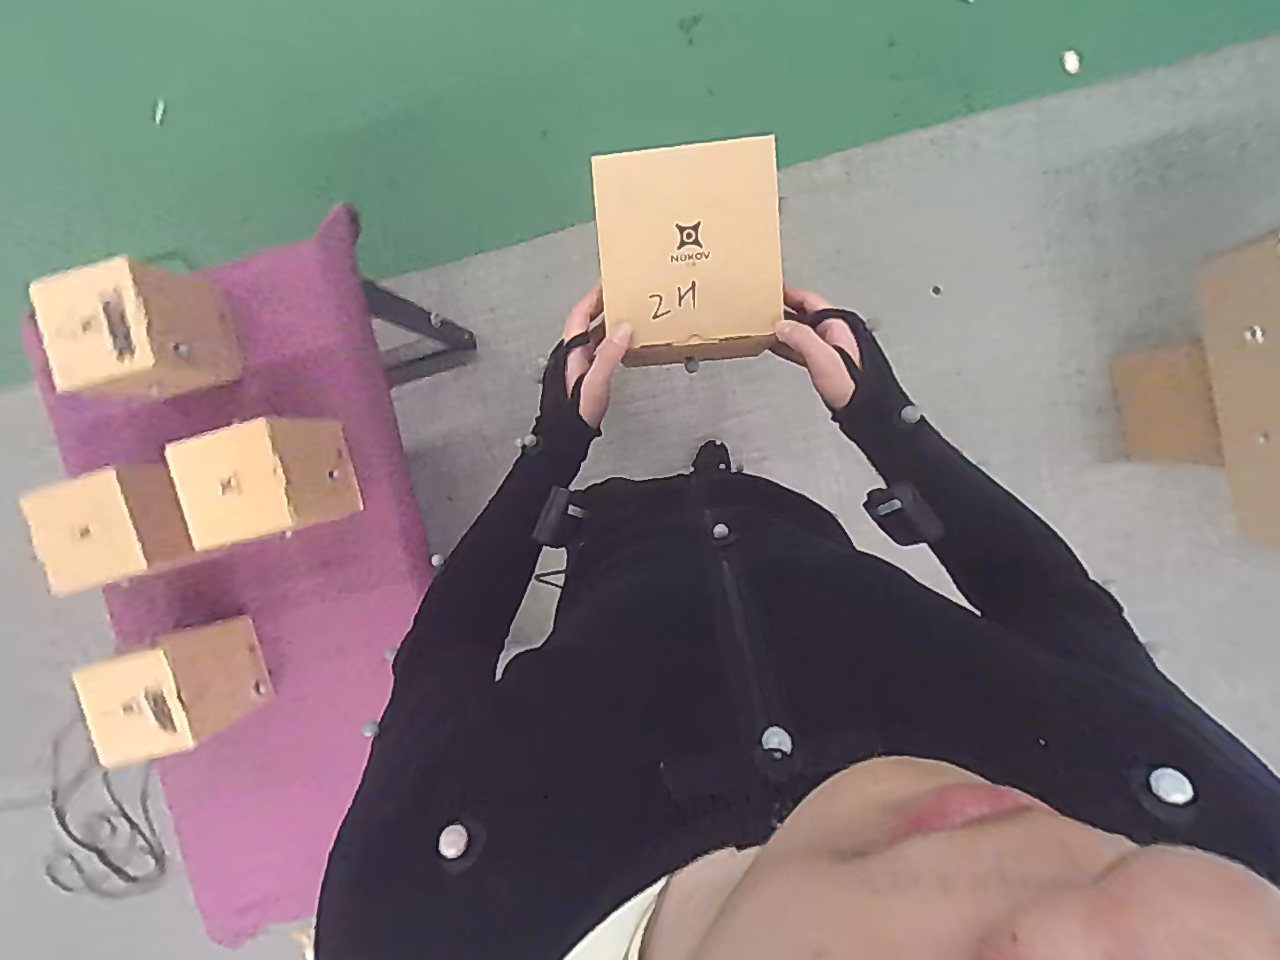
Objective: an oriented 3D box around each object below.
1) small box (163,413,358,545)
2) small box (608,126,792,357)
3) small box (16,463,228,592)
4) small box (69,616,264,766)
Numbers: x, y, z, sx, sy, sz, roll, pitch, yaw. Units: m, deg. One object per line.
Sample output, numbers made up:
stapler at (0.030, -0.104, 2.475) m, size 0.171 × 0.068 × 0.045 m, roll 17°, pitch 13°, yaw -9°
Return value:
small box at (-0.604, -0.004, 0.882) m, size 0.179 × 0.176 × 0.168 m, roll -15°, pitch 93°, yaw 6°
small box at (0.058, -0.230, 0.565) m, size 0.168 × 0.176 × 0.179 m, roll -2°, pitch 97°, yaw 4°
small box at (-0.855, 0.072, 0.910) m, size 0.179 × 0.176 × 0.168 m, roll -15°, pitch 94°, yaw 5°
small box at (-0.786, 0.348, 0.923) m, size 0.179 × 0.176 × 0.168 m, roll -15°, pitch 93°, yaw 6°
